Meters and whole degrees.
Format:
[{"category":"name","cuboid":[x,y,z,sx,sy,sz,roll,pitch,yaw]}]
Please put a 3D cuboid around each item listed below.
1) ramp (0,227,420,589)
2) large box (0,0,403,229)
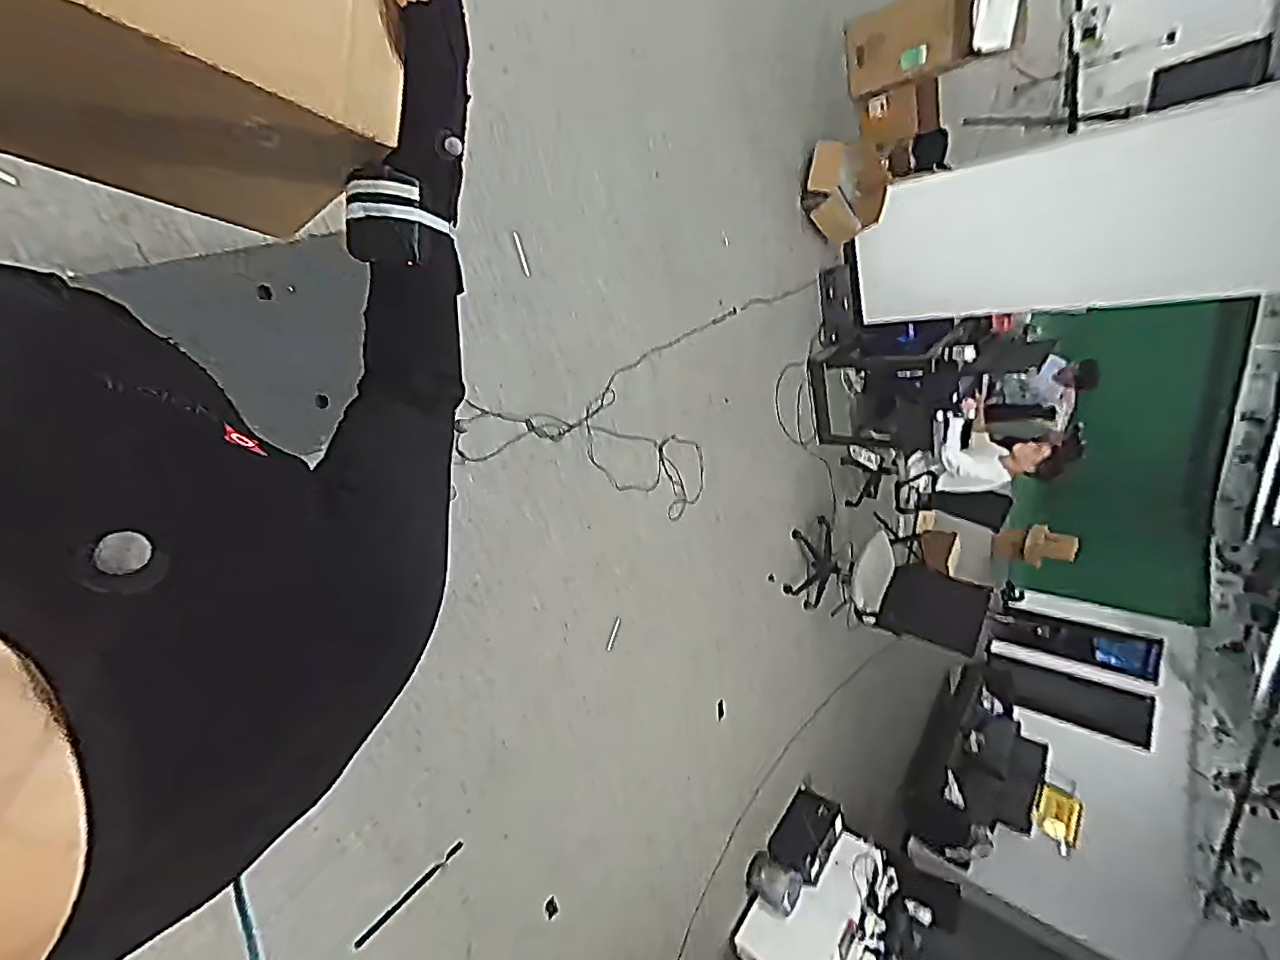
[{"category":"ramp","cuboid":[-1.002,-0.244,1.229,0.991,0.206,0.509,-38,121,-36]},{"category":"large box","cuboid":[-0.419,-0.426,0.364,0.408,0.320,0.320,4,93,-46]}]
